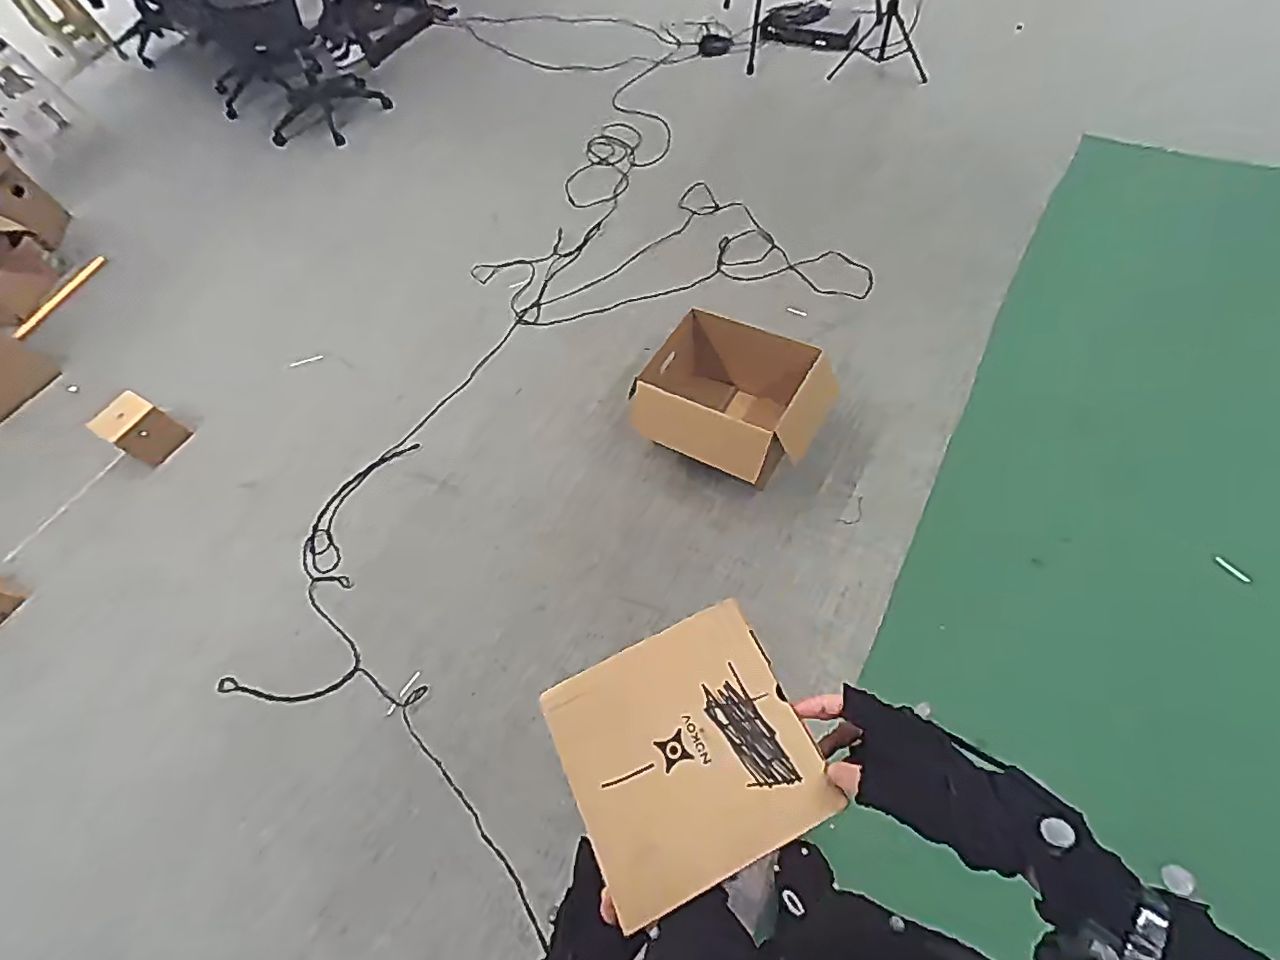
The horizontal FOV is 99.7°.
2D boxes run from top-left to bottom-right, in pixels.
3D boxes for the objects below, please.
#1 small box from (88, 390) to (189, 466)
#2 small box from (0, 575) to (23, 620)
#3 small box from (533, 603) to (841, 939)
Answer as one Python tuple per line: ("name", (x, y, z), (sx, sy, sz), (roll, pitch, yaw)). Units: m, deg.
("small box", (-1.752, -0.182, 1.908), (0.168, 0.176, 0.179), (24, 67, 19))
("small box", (-2.076, 0.362, 1.645), (0.179, 0.176, 0.168), (24, 67, 19))
("small box", (0.033, 0.230, 0.462), (0.179, 0.176, 0.168), (-25, 64, -8))
